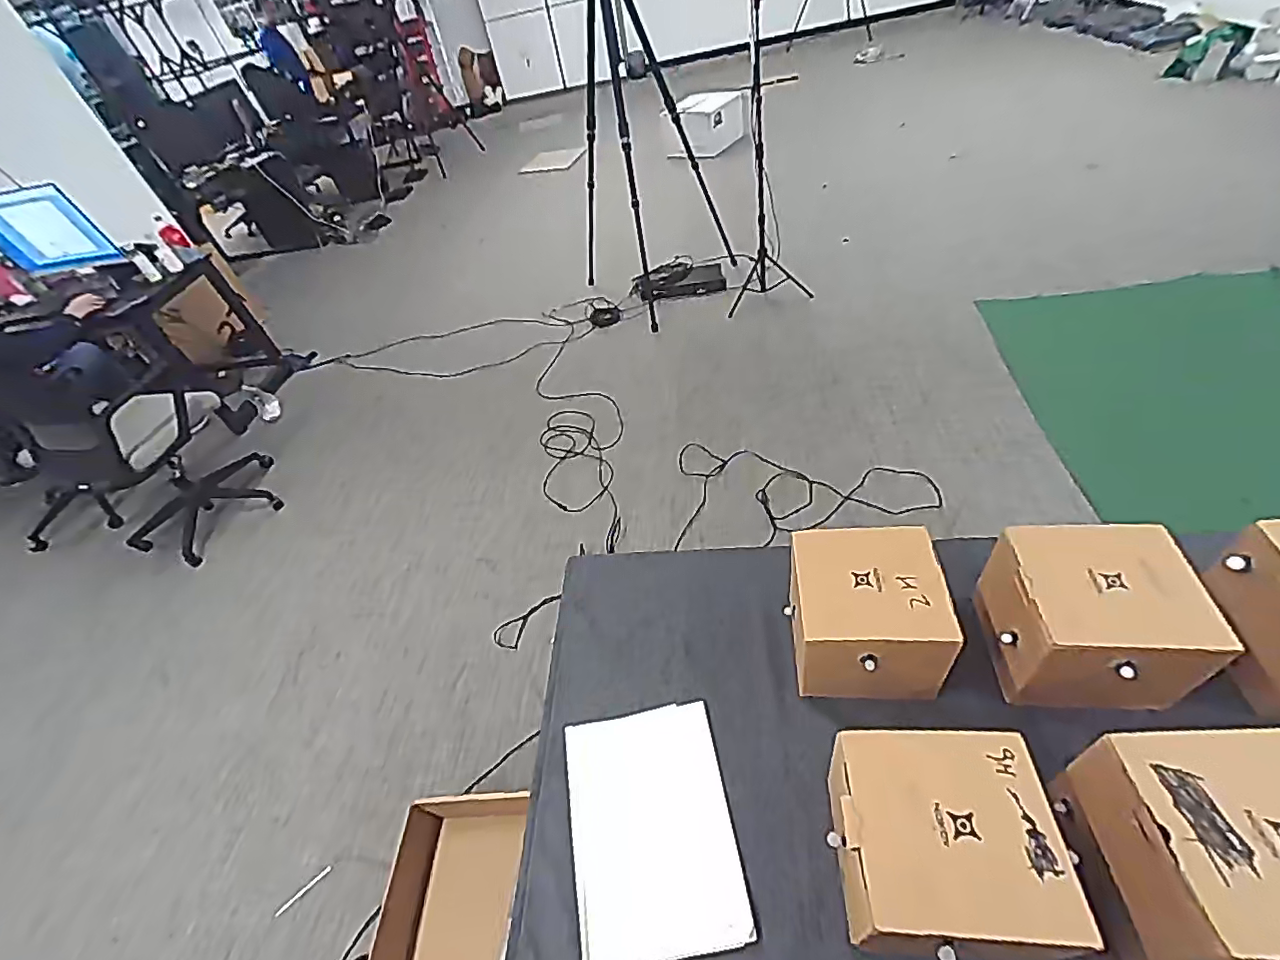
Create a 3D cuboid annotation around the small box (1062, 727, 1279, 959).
[{"bbox_3d":[0.539,0.347,0.503,0.179,0.176,0.168,-5,45,8],"label":"small box"}]
